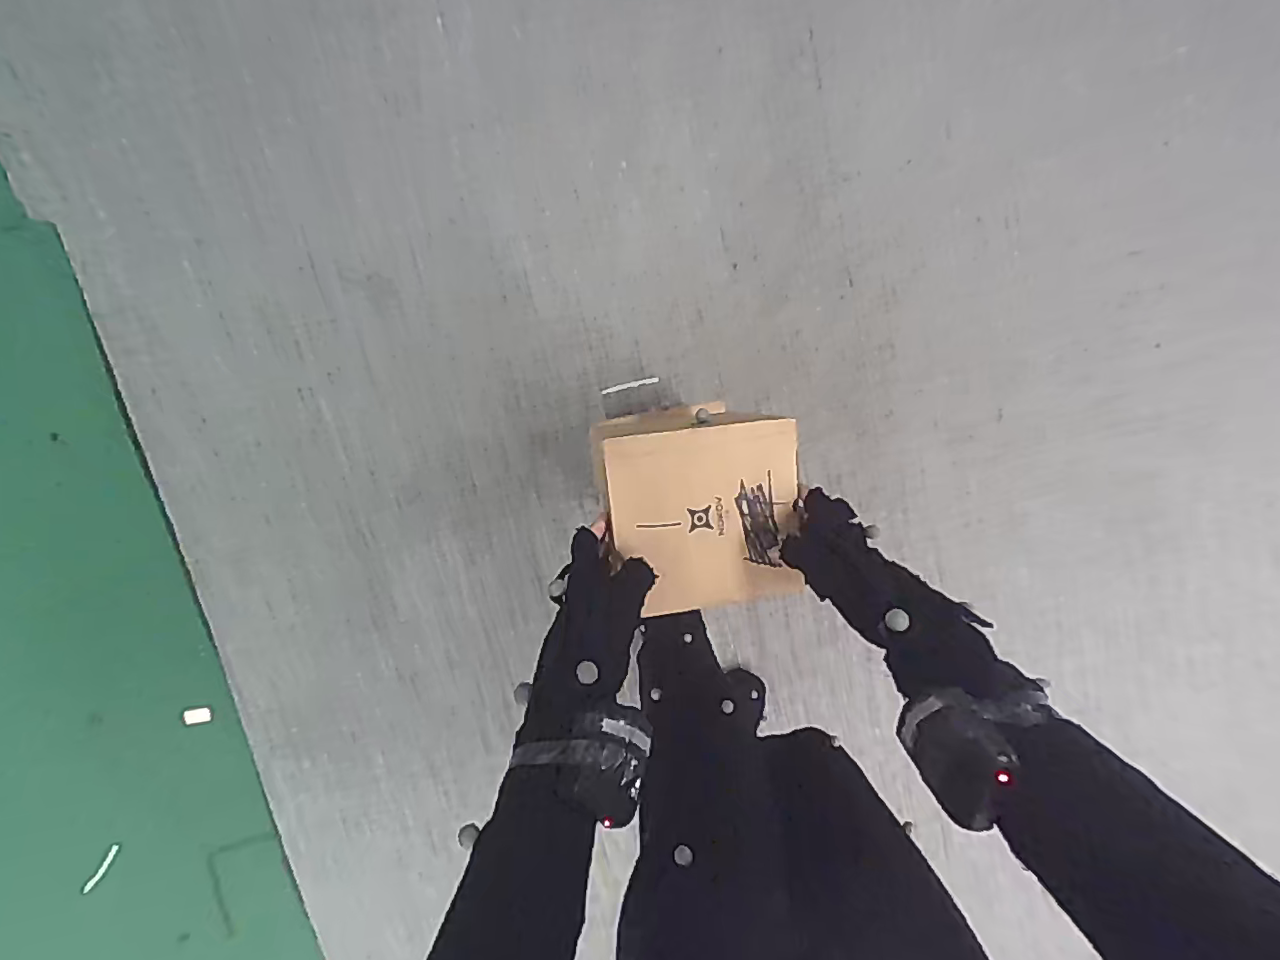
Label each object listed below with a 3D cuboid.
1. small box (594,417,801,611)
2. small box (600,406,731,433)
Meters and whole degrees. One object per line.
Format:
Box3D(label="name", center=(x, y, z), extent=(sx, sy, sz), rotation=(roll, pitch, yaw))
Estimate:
Box3D(label="small box", center=(0.049, 0.021, 0.564), extent=(0.179, 0.176, 0.168), rotation=(-4, 97, -8))
Box3D(label="small box", center=(0.039, -0.017, 0.800), extent=(0.179, 0.176, 0.168), rotation=(-10, 98, -3))
